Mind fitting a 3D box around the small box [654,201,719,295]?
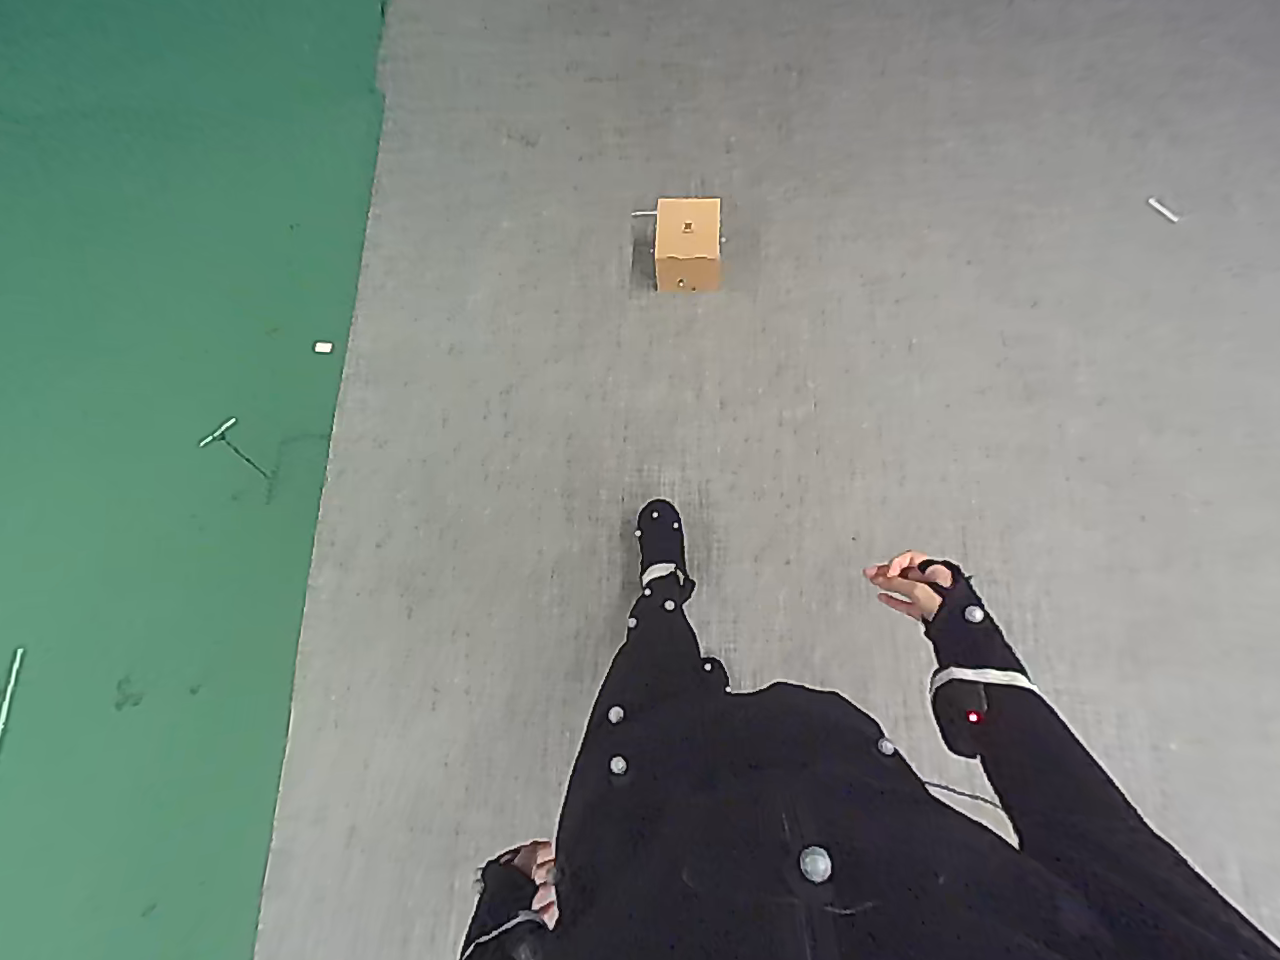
[{"bbox_3d":[0.127,-0.631,1.476,0.168,0.176,0.179,2,79,5],"label":"small box"}]
